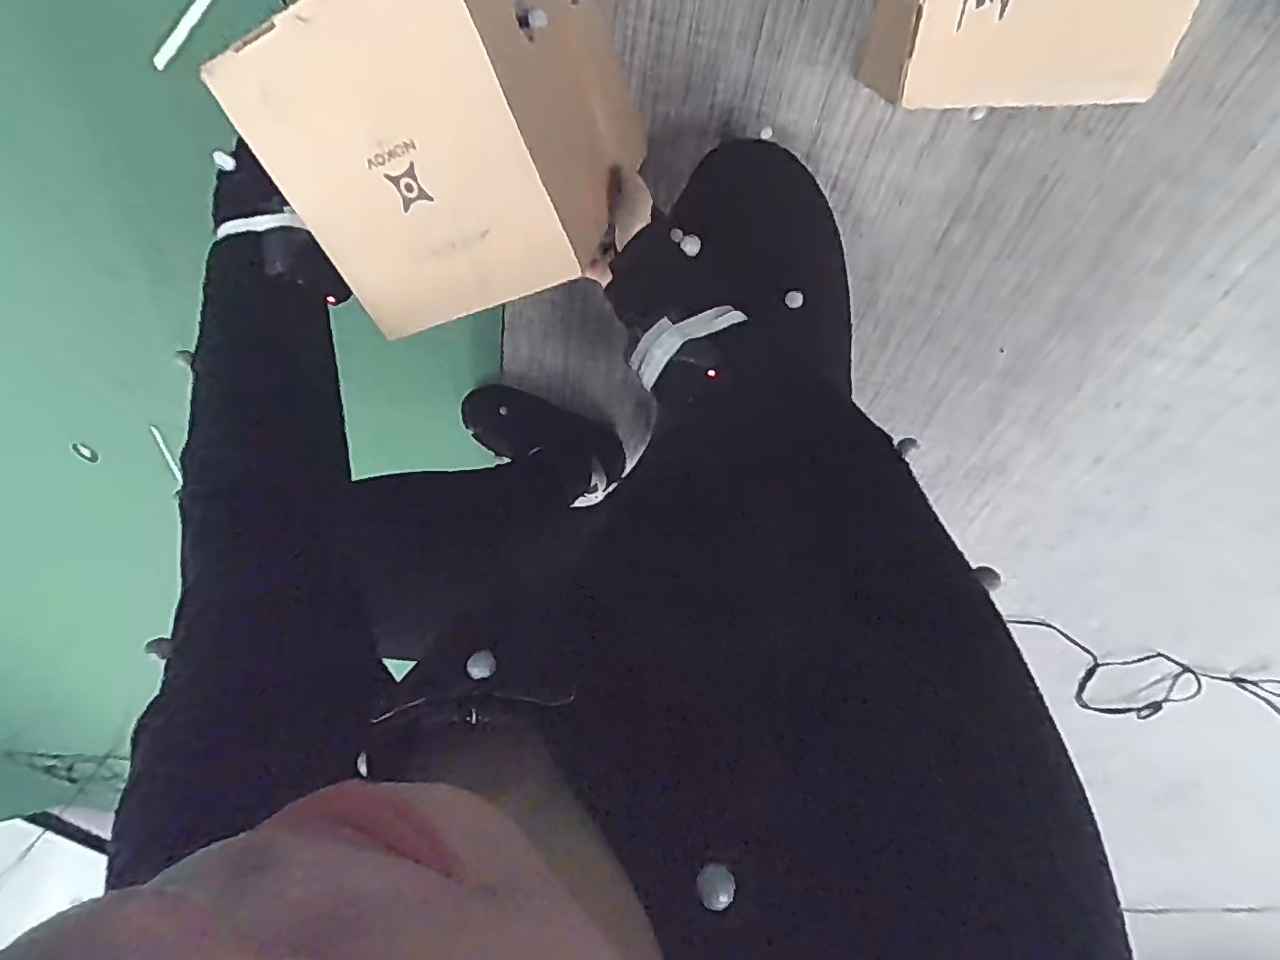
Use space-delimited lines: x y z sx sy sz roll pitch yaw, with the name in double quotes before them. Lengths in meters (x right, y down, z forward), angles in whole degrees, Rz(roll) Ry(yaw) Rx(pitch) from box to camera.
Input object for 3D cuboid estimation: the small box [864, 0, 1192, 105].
"small box" 0.284 -0.391 0.405 0.179 0.176 0.168 2 132 6
